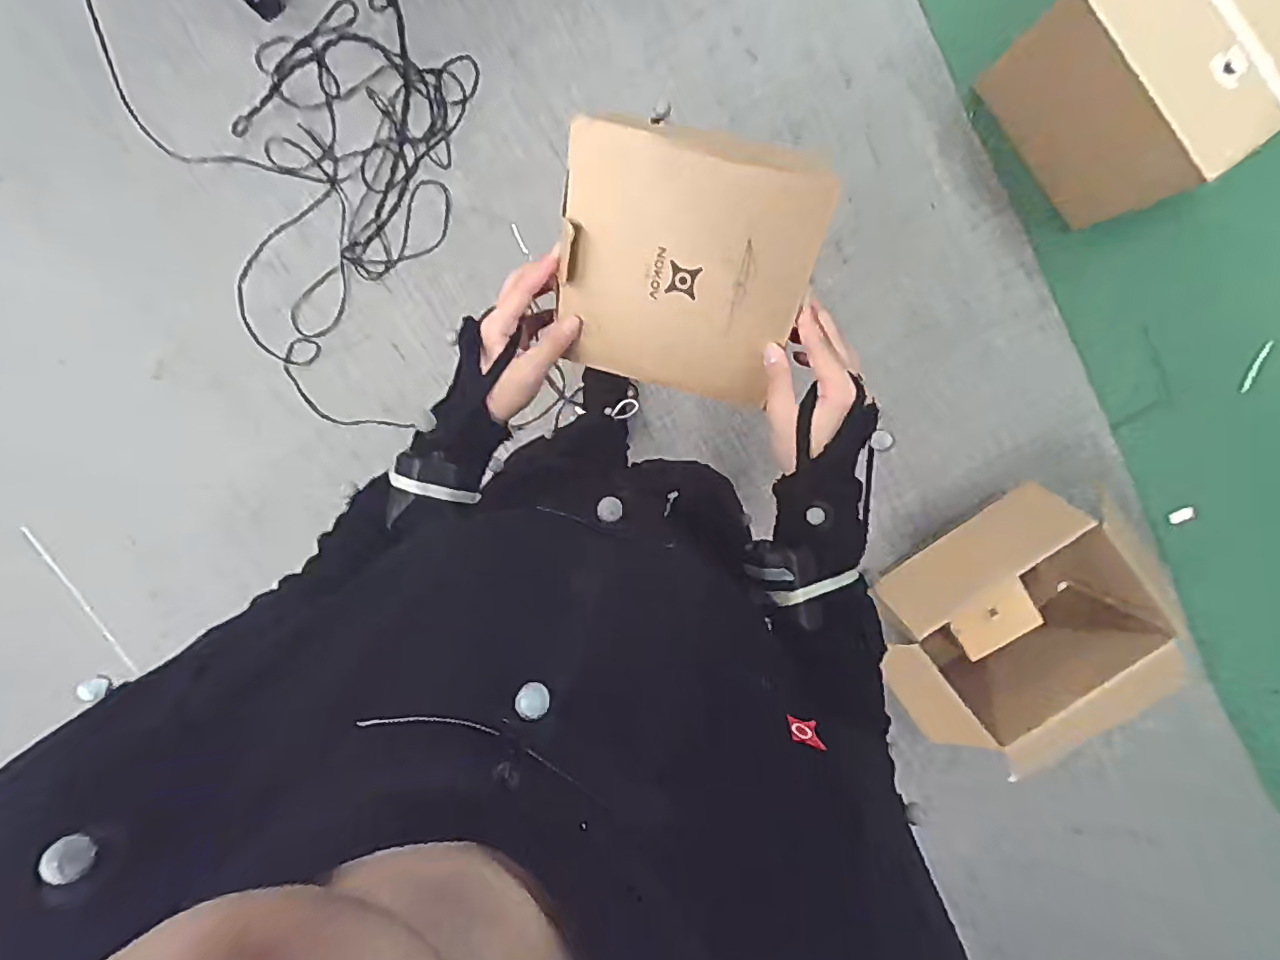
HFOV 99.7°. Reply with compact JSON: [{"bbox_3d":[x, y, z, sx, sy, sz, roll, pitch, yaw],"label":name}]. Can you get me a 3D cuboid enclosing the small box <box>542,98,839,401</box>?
[{"bbox_3d":[0.035,-0.189,0.433,0.179,0.176,0.168,14,127,3],"label":"small box"}]
